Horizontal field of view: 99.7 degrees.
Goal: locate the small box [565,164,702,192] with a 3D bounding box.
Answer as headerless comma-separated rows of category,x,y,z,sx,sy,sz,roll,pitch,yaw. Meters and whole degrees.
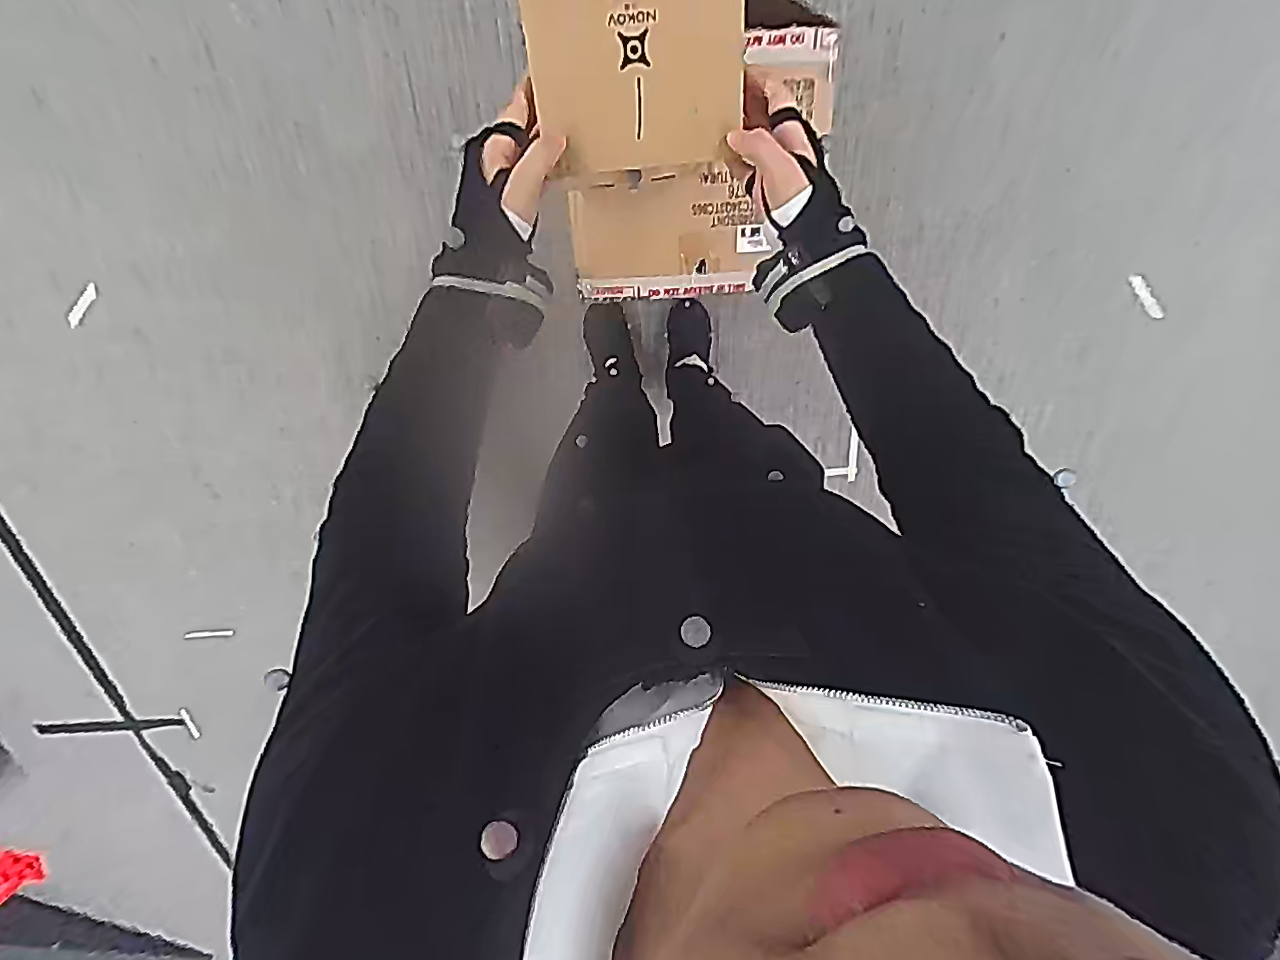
small box,-0.017,-0.466,0.674,0.168,0.176,0.179,-6,119,4

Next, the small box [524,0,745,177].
small box,-0.005,-0.374,0.474,0.168,0.176,0.179,-5,122,2
